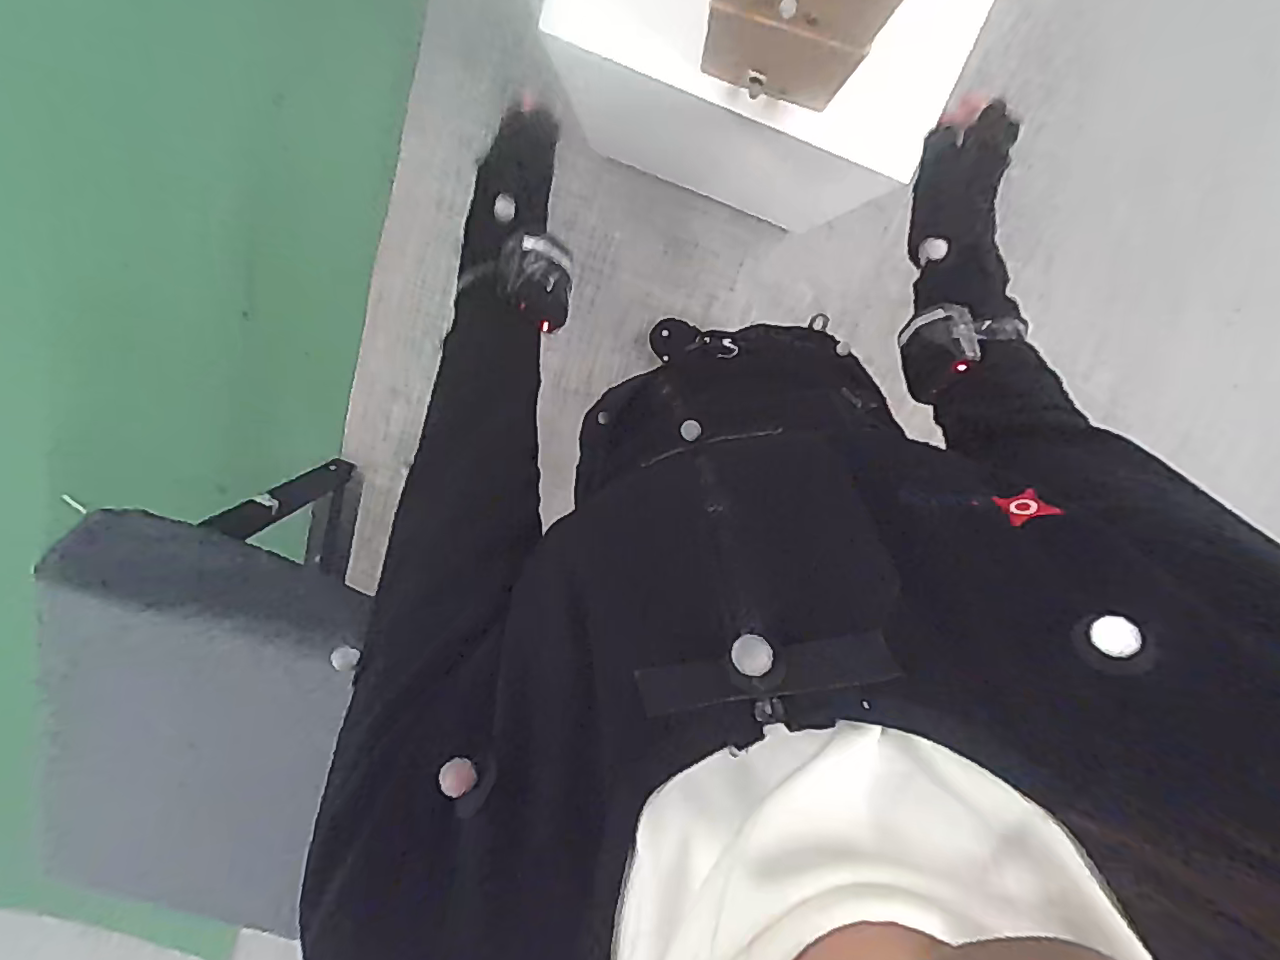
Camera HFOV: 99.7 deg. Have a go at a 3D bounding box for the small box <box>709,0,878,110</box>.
[{"bbox_3d":[0.174,-0.535,0.570,0.168,0.176,0.179,16,109,-1],"label":"small box"}]

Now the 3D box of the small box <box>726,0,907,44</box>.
[{"bbox_3d":[0.163,-0.491,0.412,0.168,0.176,0.179,14,106,-1],"label":"small box"}]
